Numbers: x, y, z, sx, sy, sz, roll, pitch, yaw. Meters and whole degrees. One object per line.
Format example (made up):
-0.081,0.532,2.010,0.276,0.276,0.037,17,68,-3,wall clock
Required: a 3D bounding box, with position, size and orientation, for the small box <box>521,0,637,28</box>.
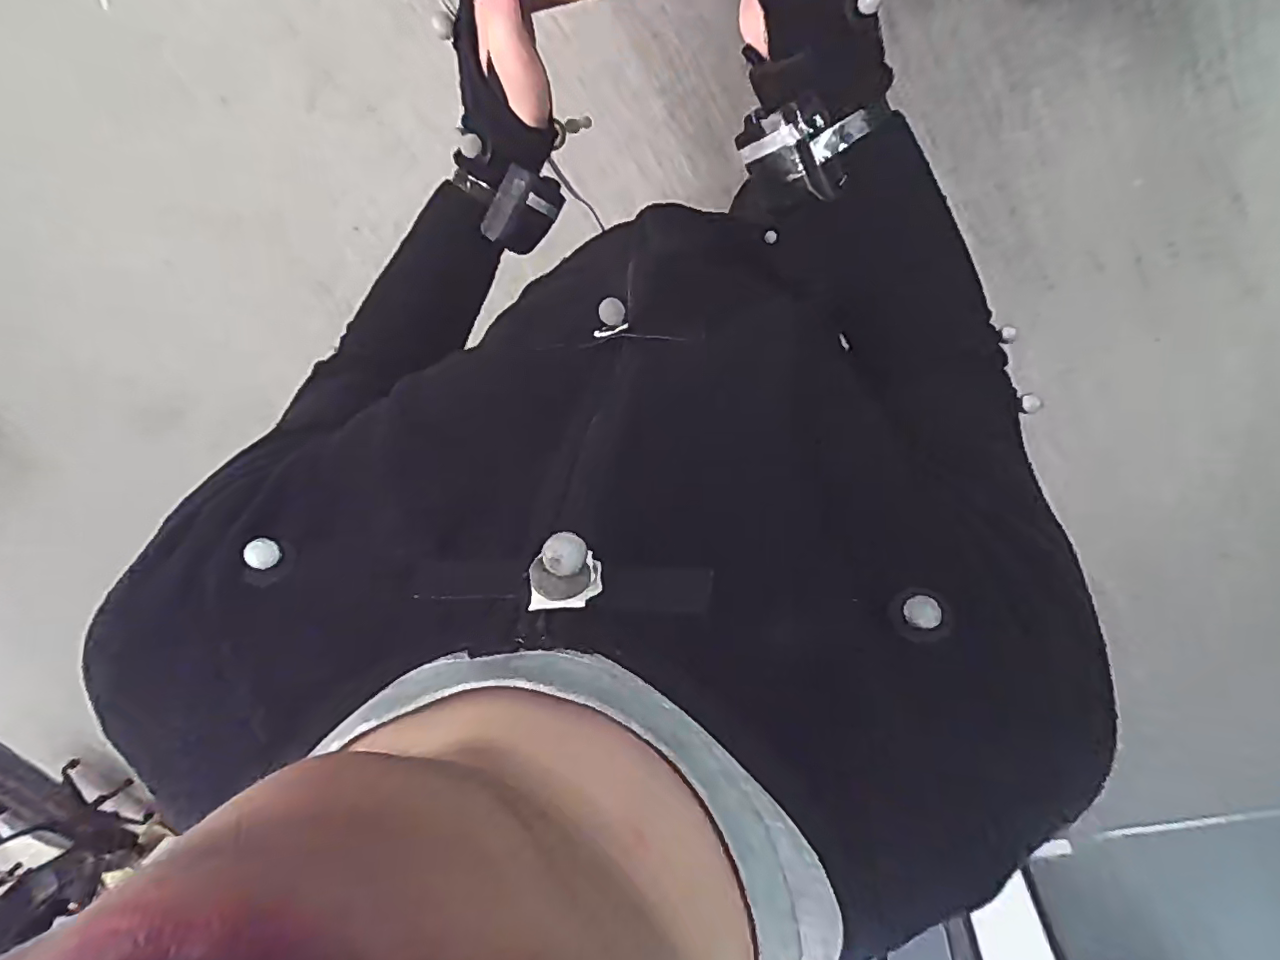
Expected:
-0.018,-0.407,0.286,0.168,0.179,0.176,-15,97,-1,small box
